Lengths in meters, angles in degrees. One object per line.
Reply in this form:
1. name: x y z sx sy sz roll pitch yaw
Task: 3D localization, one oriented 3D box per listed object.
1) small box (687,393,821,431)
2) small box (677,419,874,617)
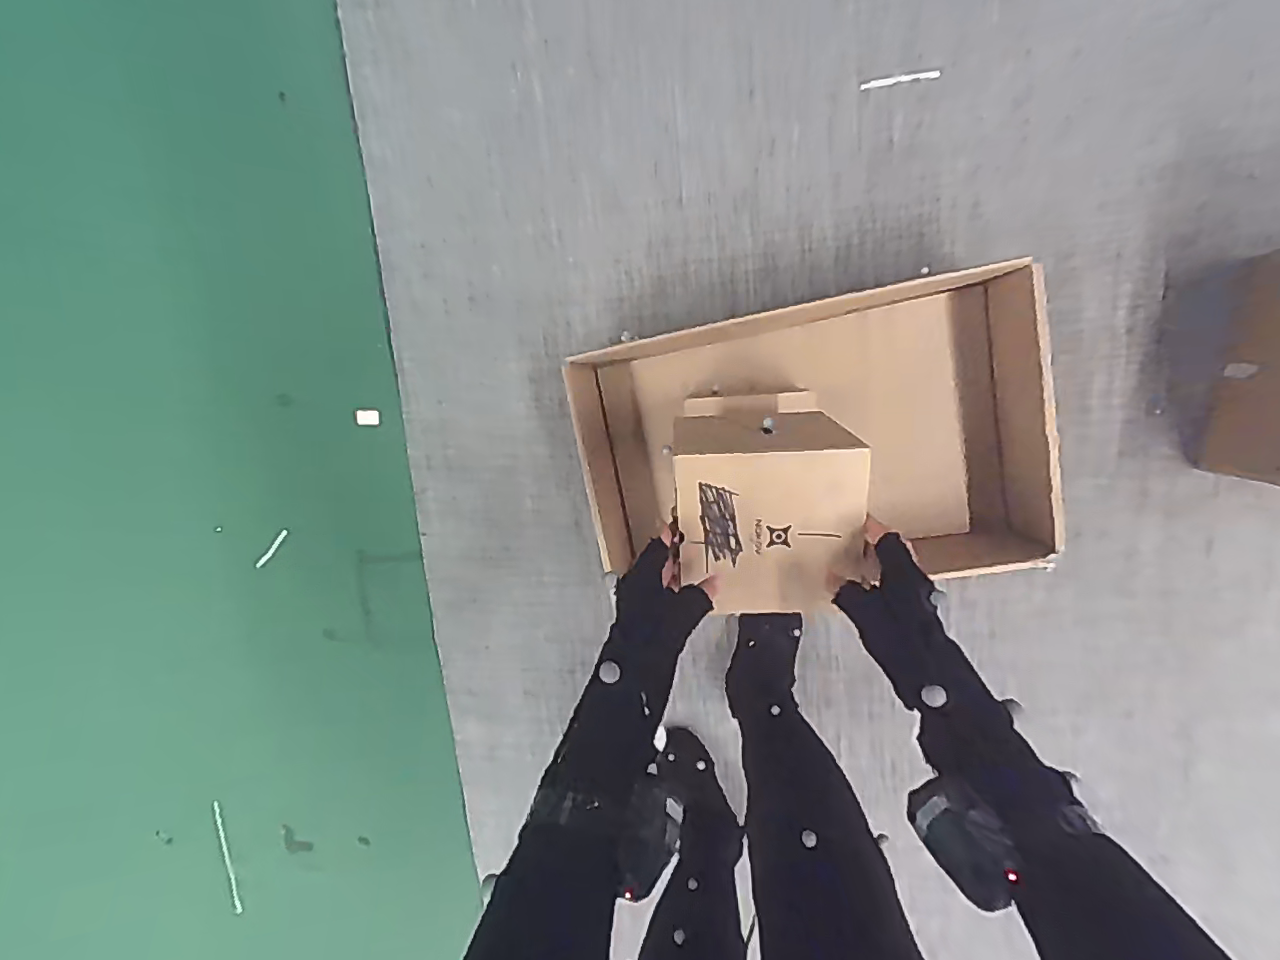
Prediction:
1. small box: 0.167 -0.040 0.805 0.179 0.176 0.168 -4 100 8
2. small box: 0.131 0.032 0.585 0.179 0.176 0.168 -3 108 4
